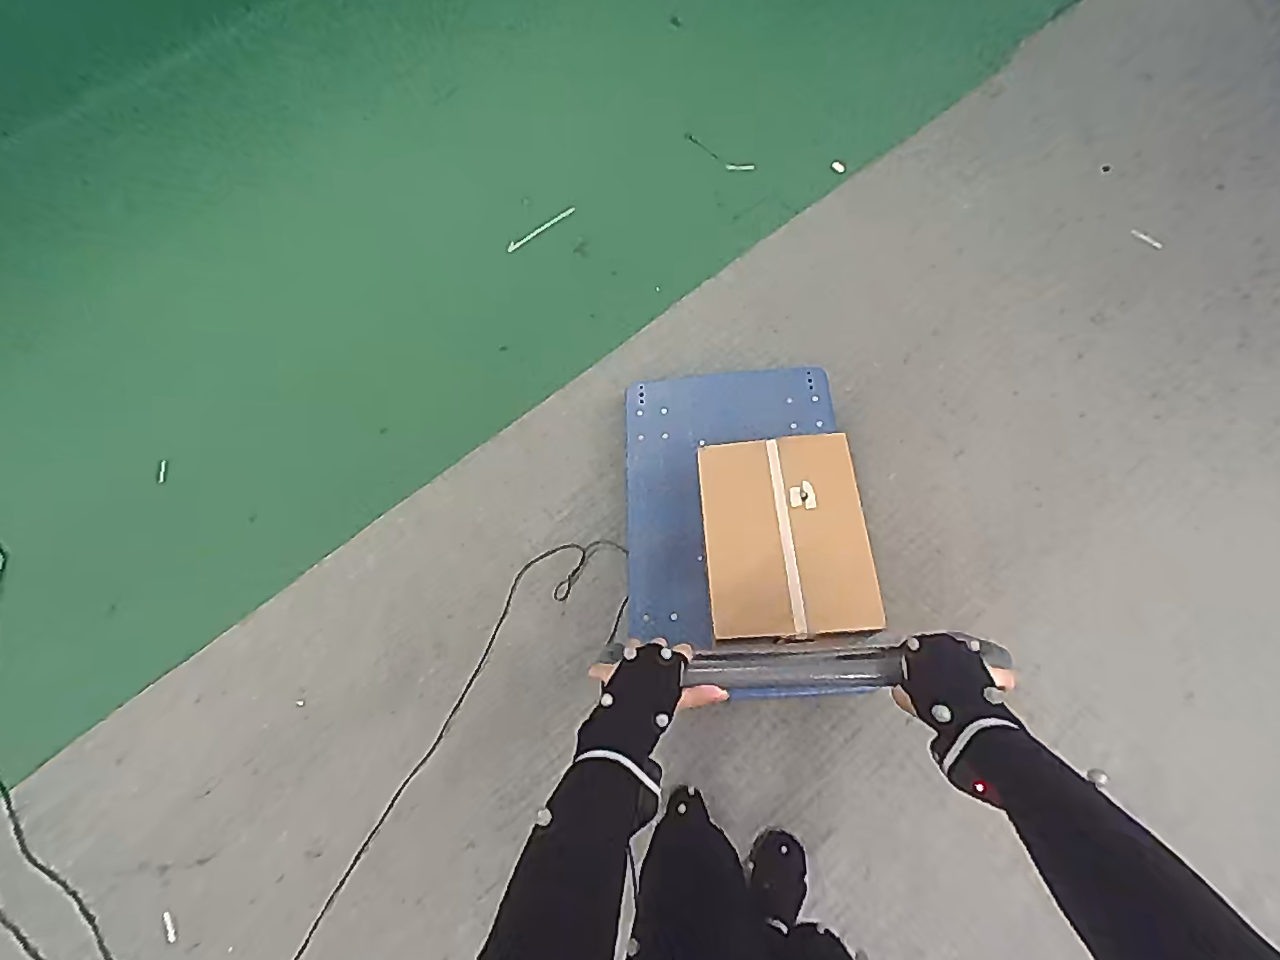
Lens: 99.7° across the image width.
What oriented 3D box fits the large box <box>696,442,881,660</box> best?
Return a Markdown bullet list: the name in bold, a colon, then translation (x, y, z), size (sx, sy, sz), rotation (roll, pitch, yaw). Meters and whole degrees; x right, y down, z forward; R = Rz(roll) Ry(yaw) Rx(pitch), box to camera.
- **large box**: translation (0.304, 0.174, 1.223), size (0.320, 0.320, 0.408), rotation (-5, 66, 5)
